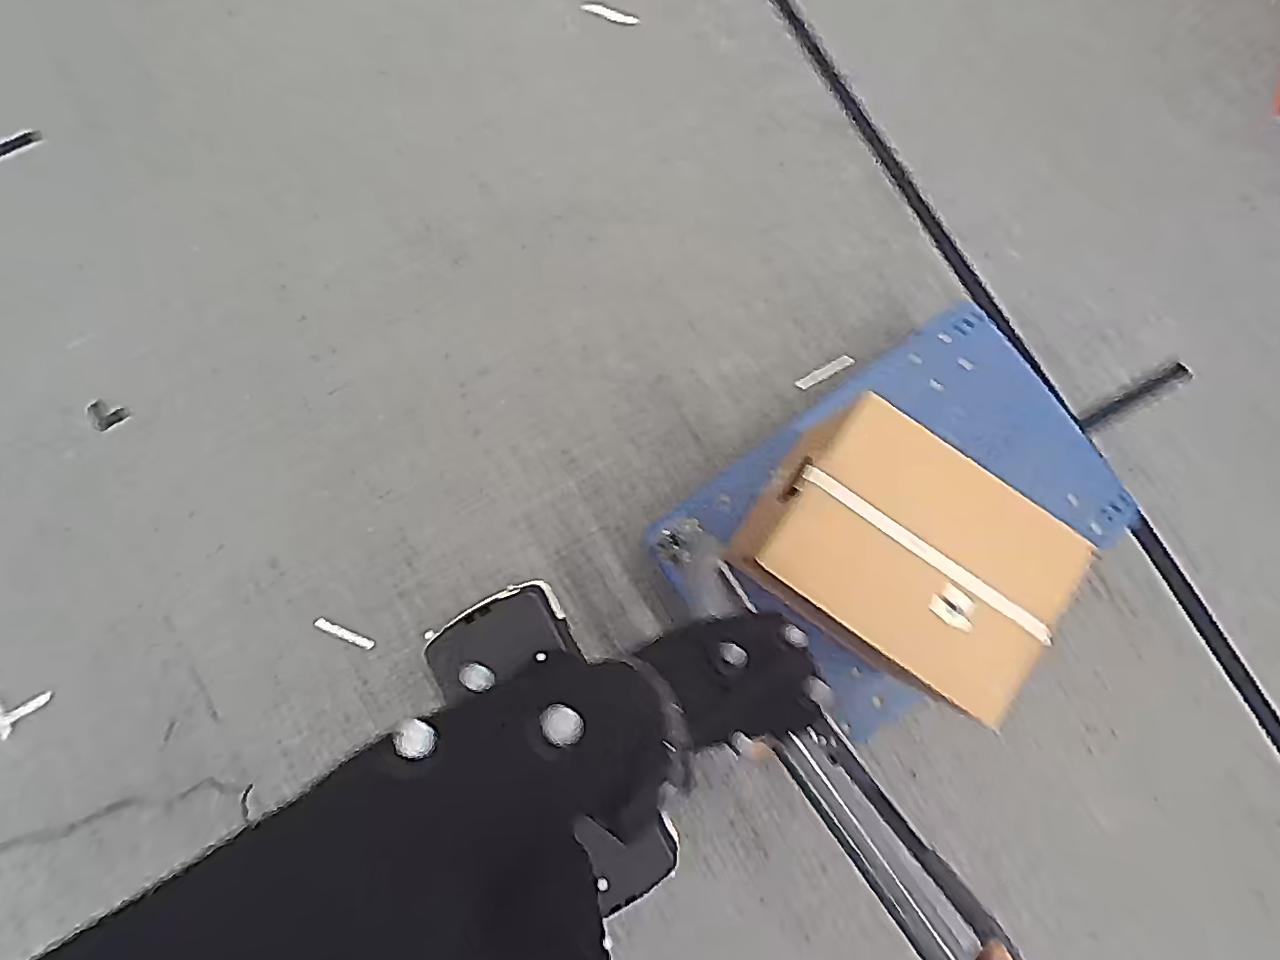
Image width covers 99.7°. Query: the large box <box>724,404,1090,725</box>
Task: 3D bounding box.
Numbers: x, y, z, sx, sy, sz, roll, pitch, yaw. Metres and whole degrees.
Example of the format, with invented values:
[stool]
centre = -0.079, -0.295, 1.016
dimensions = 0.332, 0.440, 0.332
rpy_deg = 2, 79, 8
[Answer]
[large box]
centre = 0.415, 0.132, 0.938
dimensions = 0.408, 0.320, 0.320
rpy_deg = 36, 84, 2
